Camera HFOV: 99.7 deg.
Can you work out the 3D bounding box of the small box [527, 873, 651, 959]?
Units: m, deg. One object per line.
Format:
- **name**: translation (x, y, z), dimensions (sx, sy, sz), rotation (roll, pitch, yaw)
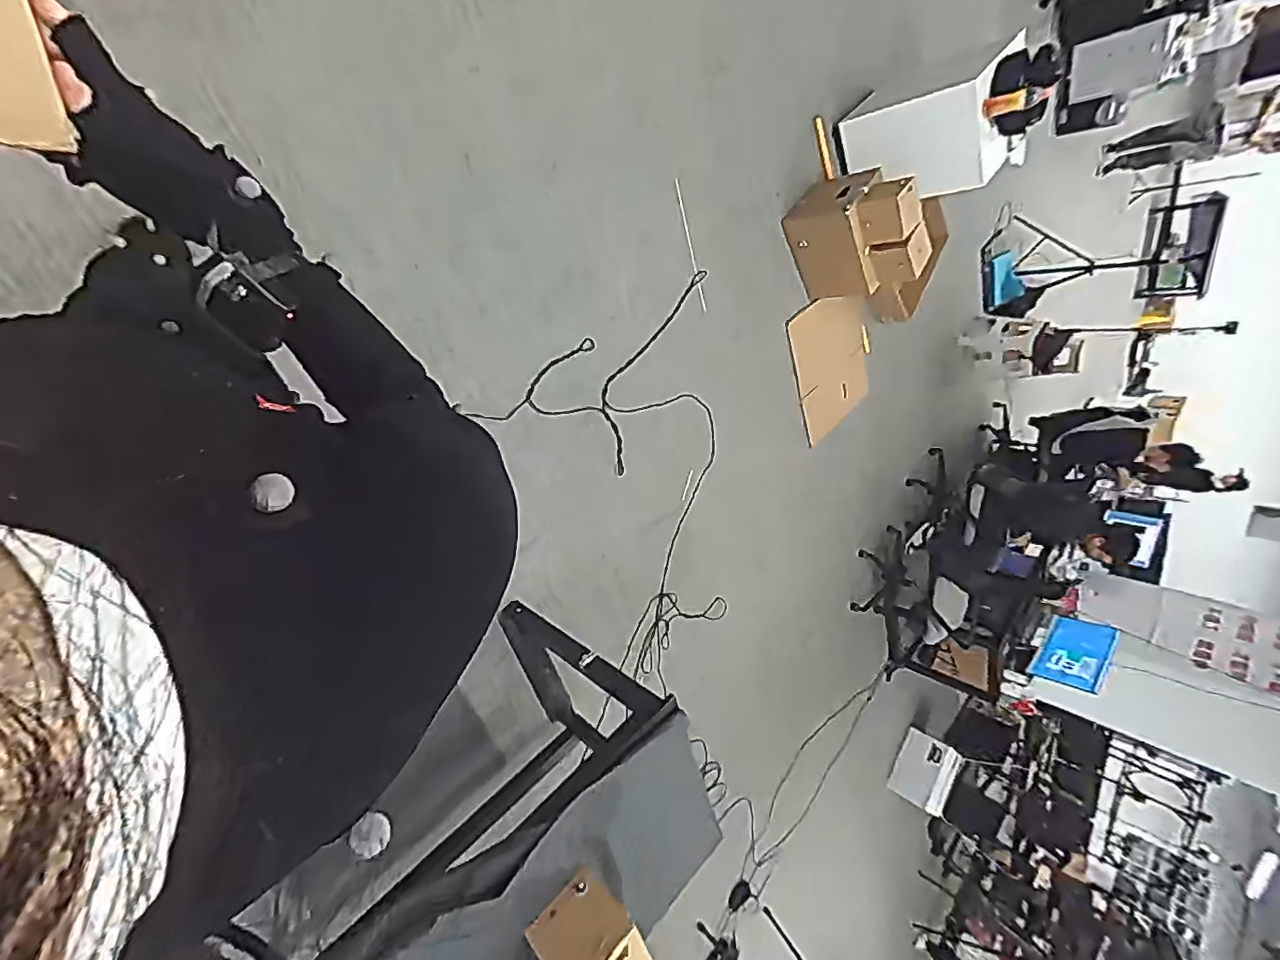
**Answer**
- **small box**: translation (-0.105, 0.962, 1.110), dimensions (0.168, 0.176, 0.179), rotation (-34, 122, -32)
